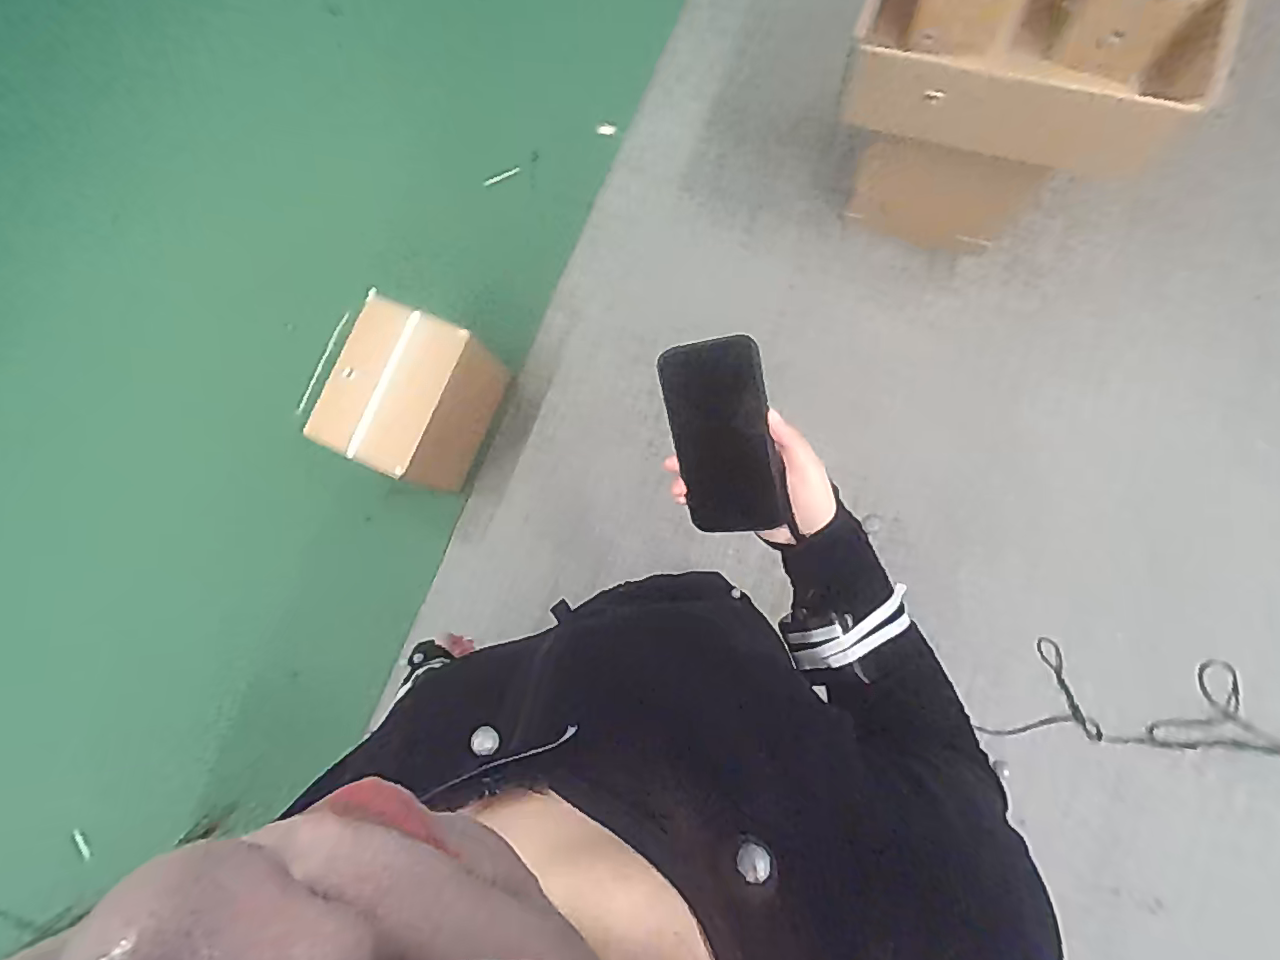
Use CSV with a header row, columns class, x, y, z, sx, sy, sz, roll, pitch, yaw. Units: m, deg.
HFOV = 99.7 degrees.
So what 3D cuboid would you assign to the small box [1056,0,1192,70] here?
class,x,y,z,sx,sy,sz,roll,pitch,yaw
small box,0.930,-0.923,1.008,0.168,0.176,0.179,27,87,11
